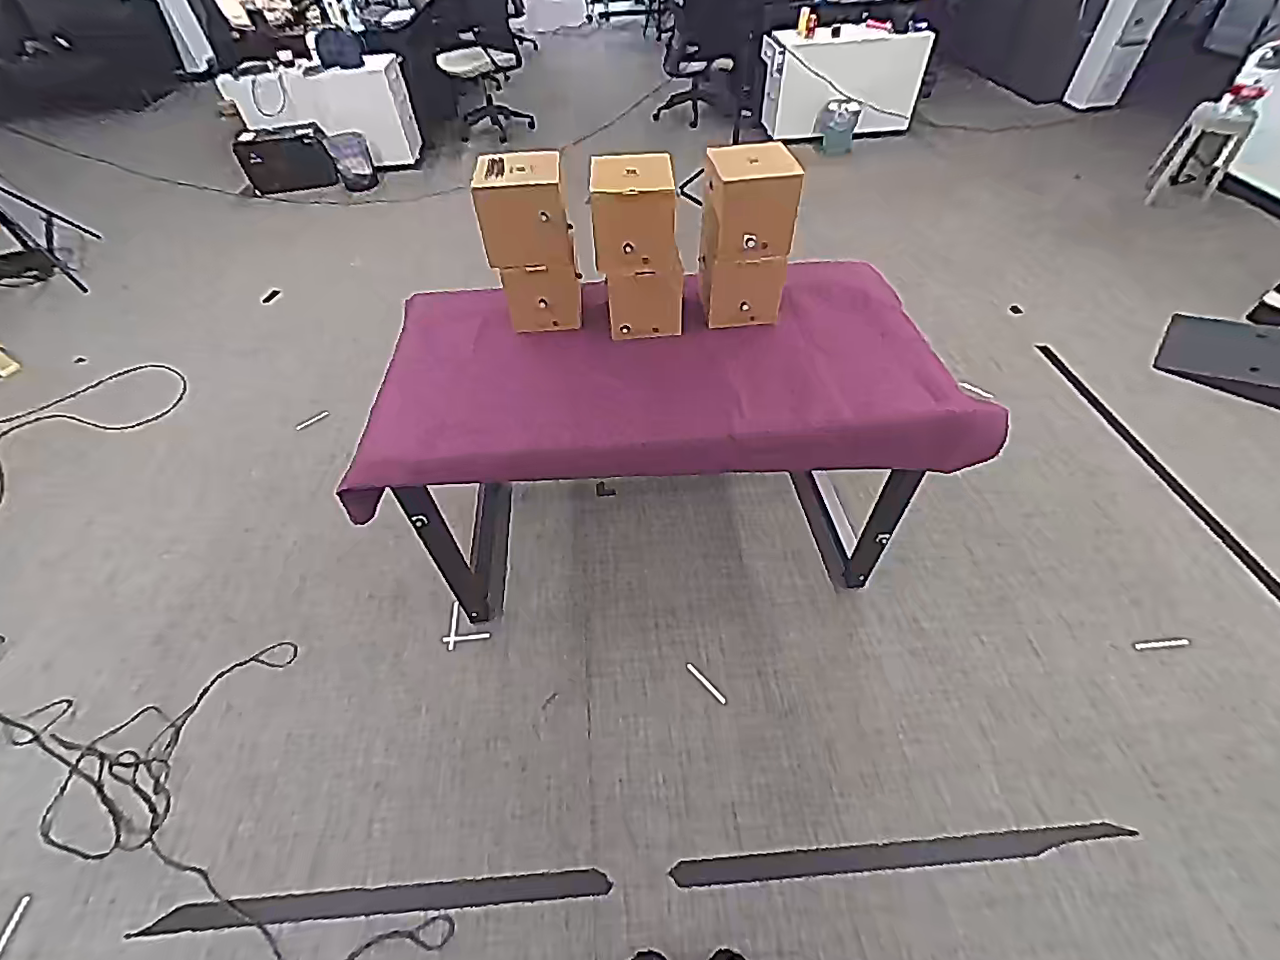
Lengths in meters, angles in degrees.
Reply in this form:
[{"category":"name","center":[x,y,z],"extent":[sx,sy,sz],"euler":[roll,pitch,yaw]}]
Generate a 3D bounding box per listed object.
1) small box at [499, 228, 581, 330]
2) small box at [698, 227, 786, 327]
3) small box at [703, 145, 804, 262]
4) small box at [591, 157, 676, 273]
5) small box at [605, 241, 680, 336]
[{"category":"small box","center":[-0.232,-0.475,1.294],"extent":[0.168,0.176,0.179],"euler":[-4,51,-2]},{"category":"small box","center":[0.233,-0.486,1.285],"extent":[0.168,0.176,0.179],"euler":[-5,51,-1]},{"category":"small box","center":[0.233,-0.595,1.165],"extent":[0.168,0.176,0.179],"euler":[-7,51,-3]},{"category":"small box","center":[-0.015,-0.559,1.145],"extent":[0.168,0.176,0.179],"euler":[-3,51,0]},{"category":"small box","center":[0.005,-0.452,1.266],"extent":[0.168,0.176,0.179],"euler":[-5,50,-2]}]
